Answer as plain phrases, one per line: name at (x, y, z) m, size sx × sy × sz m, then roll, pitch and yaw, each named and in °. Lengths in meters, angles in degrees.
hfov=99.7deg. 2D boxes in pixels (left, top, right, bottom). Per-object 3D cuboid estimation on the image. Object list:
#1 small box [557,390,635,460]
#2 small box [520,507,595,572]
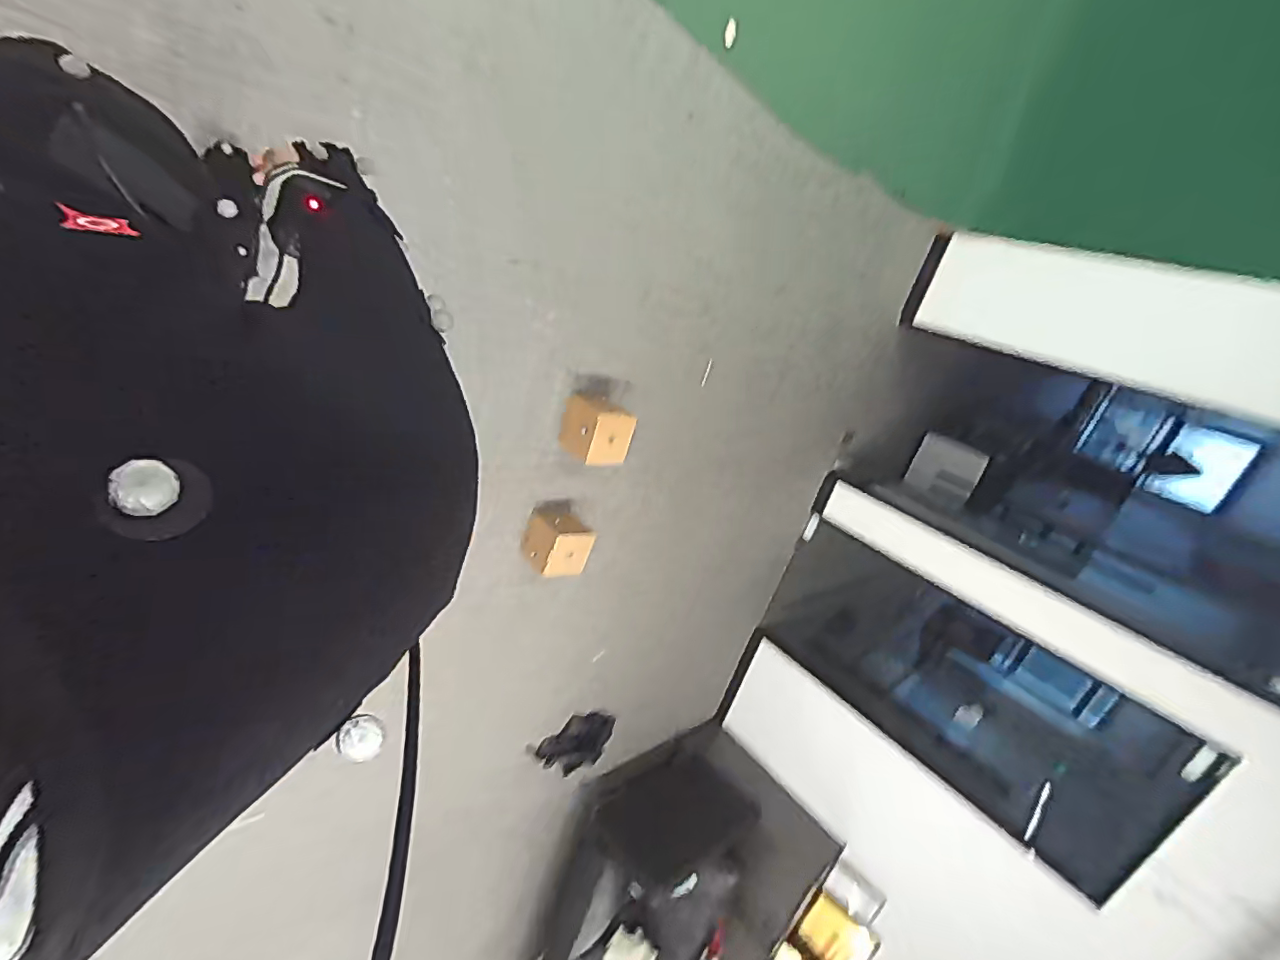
small box at (-0.150, -0.179, 1.773) m, size 0.168 × 0.176 × 0.179 m, roll -3°, pitch 118°, yaw -45°
small box at (-0.295, 0.205, 1.902) m, size 0.179 × 0.176 × 0.168 m, roll 2°, pitch 117°, yaw -48°
